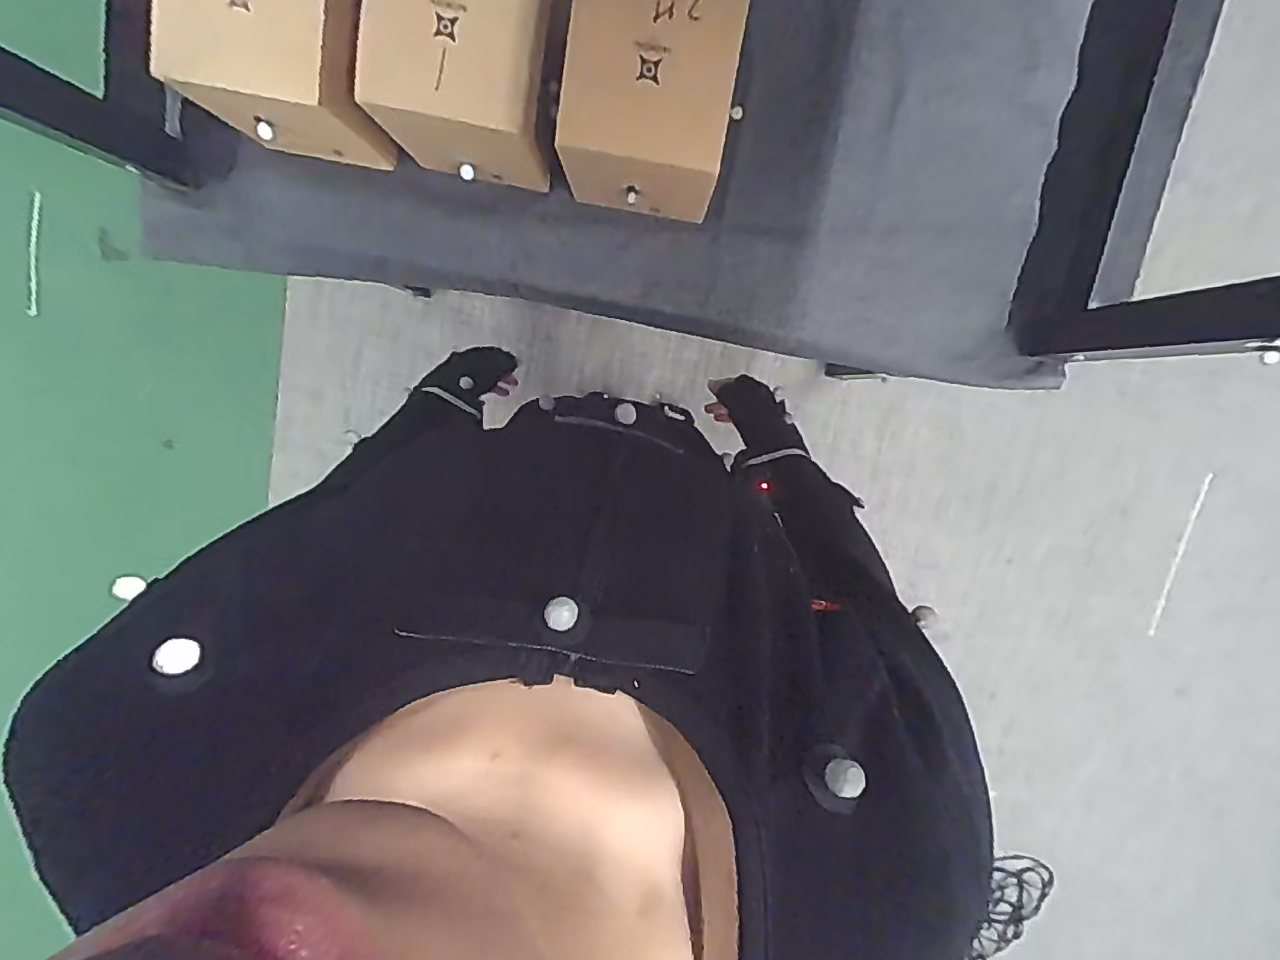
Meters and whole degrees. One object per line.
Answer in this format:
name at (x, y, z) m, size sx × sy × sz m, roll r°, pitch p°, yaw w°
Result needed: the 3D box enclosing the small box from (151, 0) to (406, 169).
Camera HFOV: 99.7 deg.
small box at (-0.373, -0.469, 0.587) m, size 0.168 × 0.176 × 0.179 m, roll 10°, pitch 99°, yaw -1°
